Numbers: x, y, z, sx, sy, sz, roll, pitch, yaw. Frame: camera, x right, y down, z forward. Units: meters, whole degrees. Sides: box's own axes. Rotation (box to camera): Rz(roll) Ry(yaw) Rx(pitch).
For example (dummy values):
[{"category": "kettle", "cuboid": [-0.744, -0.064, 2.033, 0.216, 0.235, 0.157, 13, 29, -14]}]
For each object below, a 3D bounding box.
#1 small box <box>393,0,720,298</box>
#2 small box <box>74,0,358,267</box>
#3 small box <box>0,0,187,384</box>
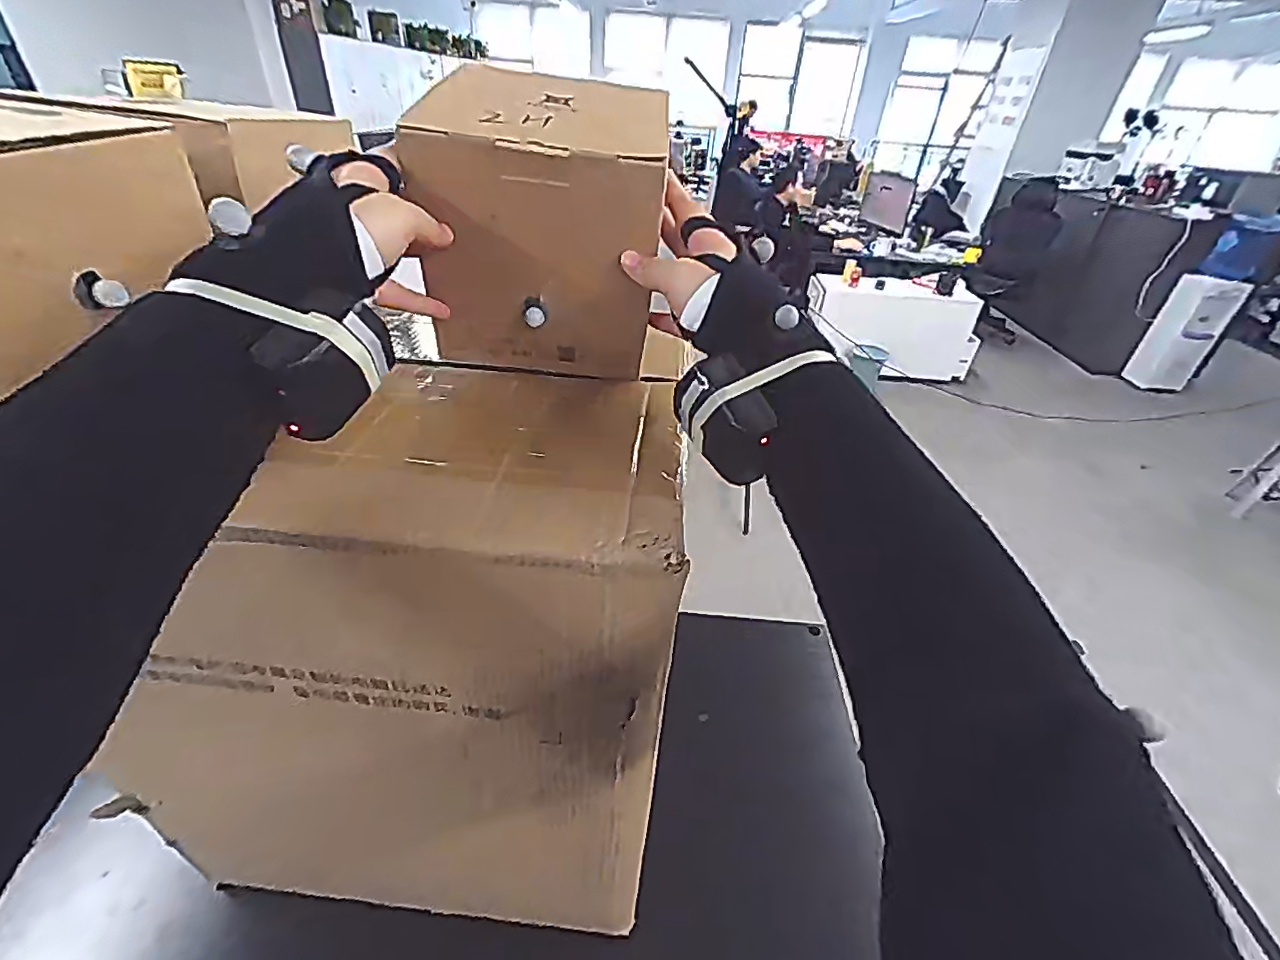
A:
[{"category": "small box", "cuboid": [-0.048, -0.247, 0.361, 0.168, 0.176, 0.179, 5, 47, -3]}, {"category": "small box", "cuboid": [-0.341, -0.261, 0.392, 0.179, 0.176, 0.168, 7, 34, 1]}, {"category": "small box", "cuboid": [-0.347, -0.141, 0.223, 0.168, 0.176, 0.179, 5, 39, -4]}]
